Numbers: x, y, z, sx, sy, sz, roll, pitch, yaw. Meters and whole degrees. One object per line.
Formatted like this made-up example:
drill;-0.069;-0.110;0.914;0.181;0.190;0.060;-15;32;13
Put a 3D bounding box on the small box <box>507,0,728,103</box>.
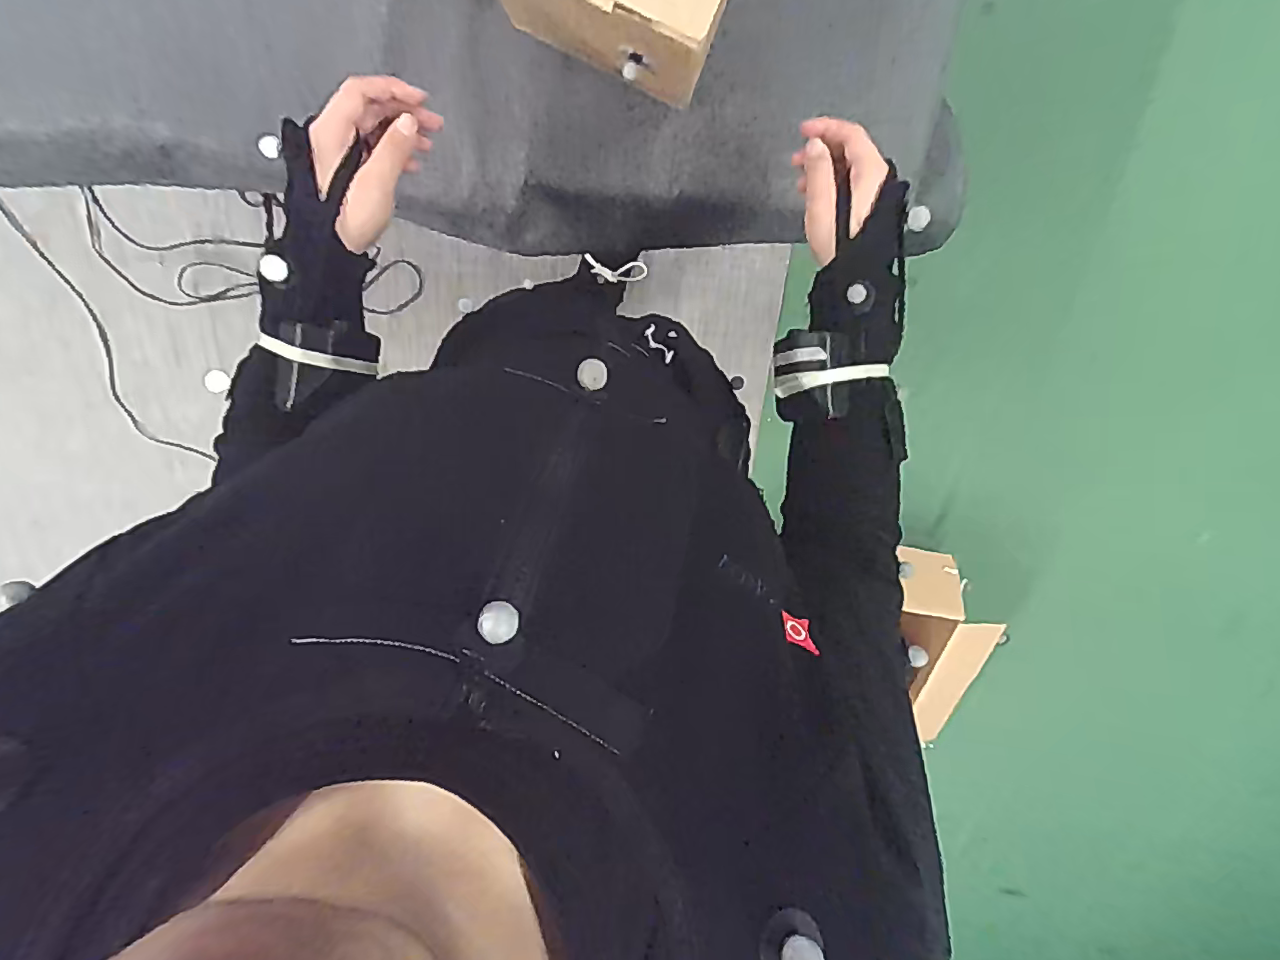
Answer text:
small box;-0.003;-0.402;0.372;0.168;0.176;0.179;21;110;-9
